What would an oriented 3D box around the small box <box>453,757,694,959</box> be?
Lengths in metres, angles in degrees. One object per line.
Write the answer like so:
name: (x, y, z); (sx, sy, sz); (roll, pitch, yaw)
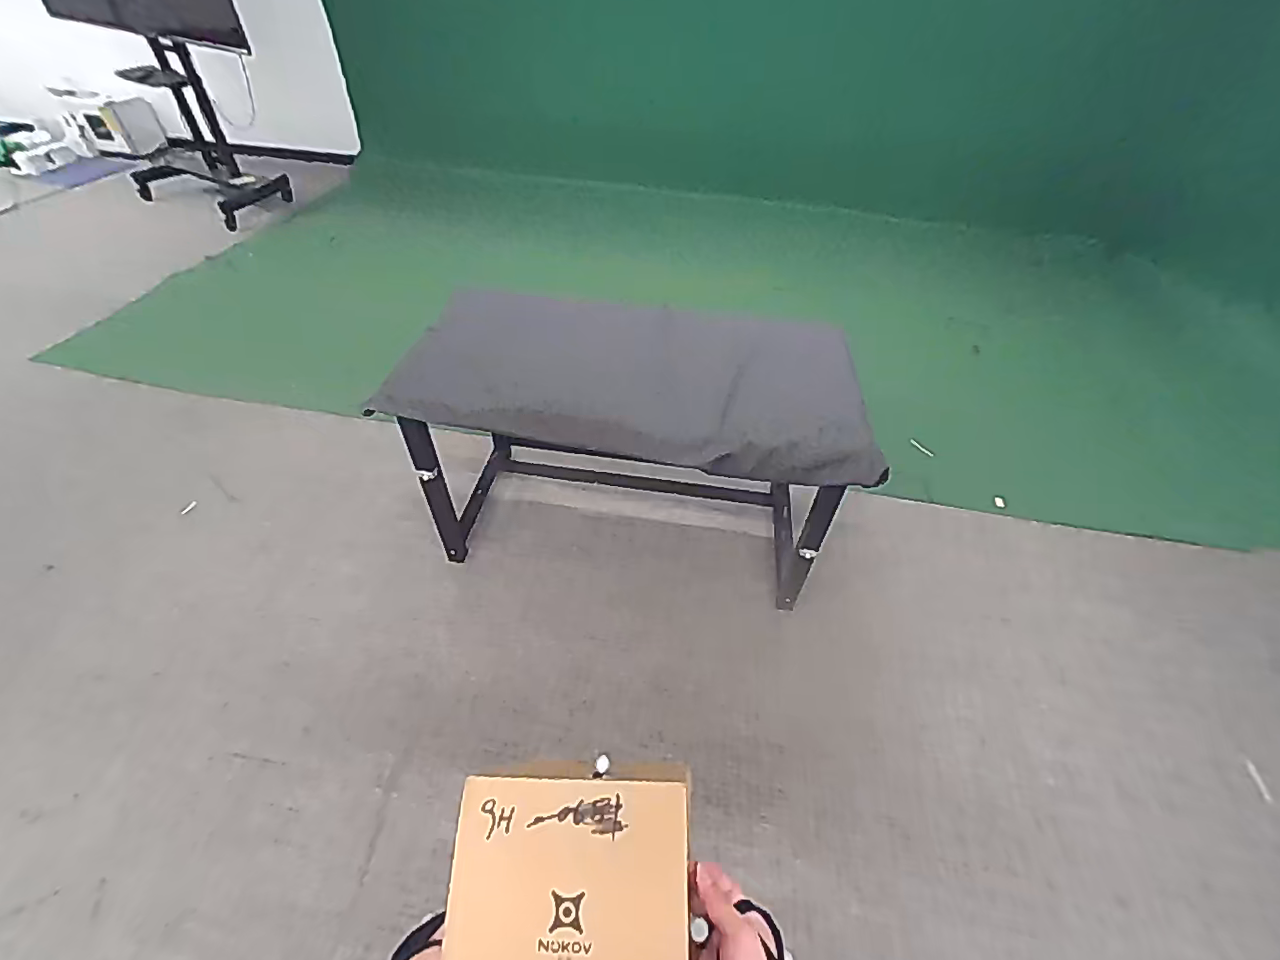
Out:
small box: (-0.039, 0.336, 0.443); (0.168, 0.176, 0.179); (0, 67, 5)
